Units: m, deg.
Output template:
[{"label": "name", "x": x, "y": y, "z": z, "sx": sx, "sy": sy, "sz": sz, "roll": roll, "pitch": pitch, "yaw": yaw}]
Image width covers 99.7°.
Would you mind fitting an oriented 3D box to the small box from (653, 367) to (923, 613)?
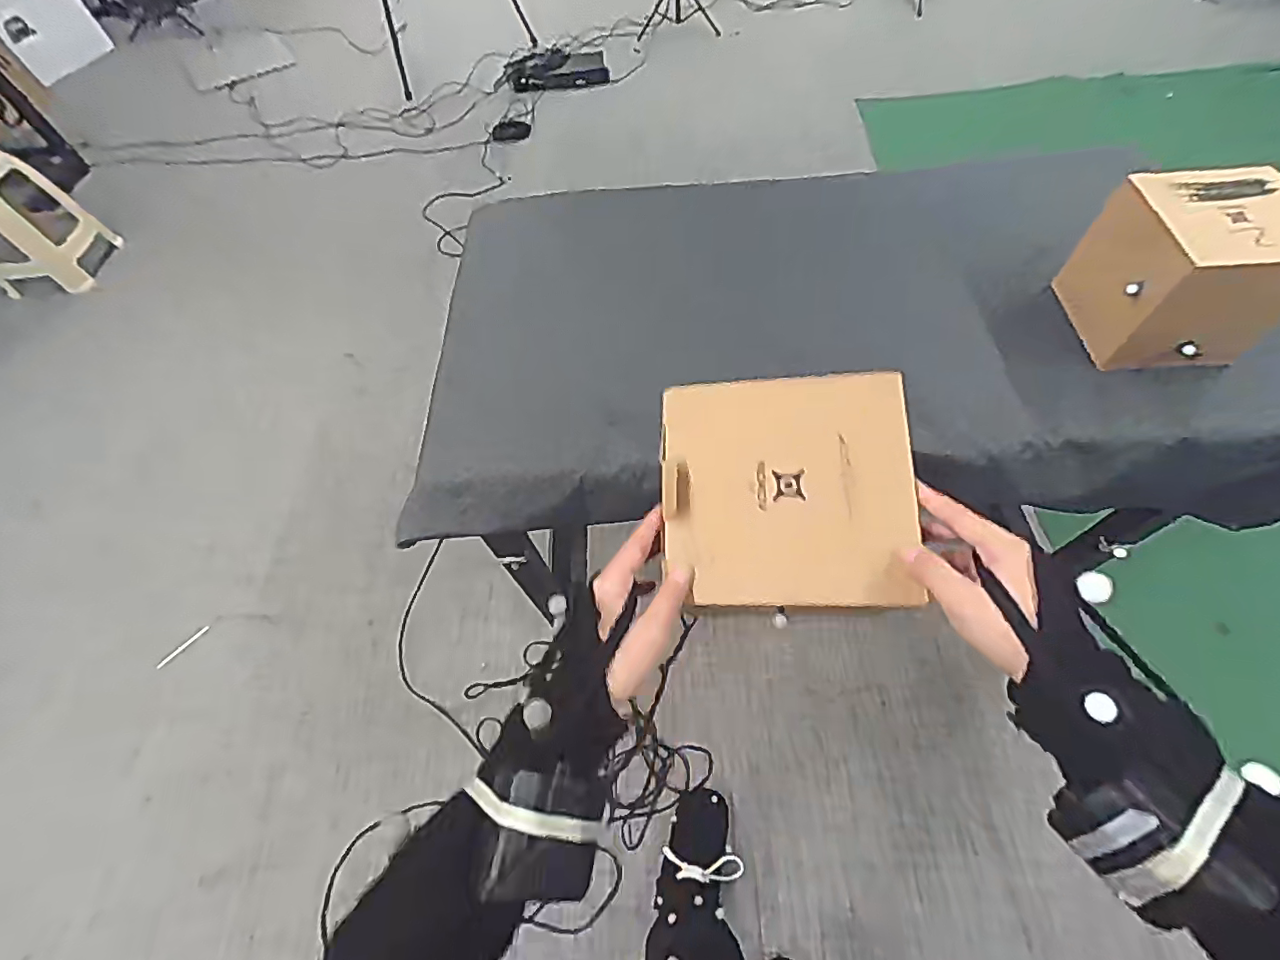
[{"label": "small box", "x": 0.111, "y": 0.023, "z": 0.454, "sx": 0.179, "sy": 0.176, "sz": 0.168, "roll": -2, "pitch": 73, "yaw": 10}]
